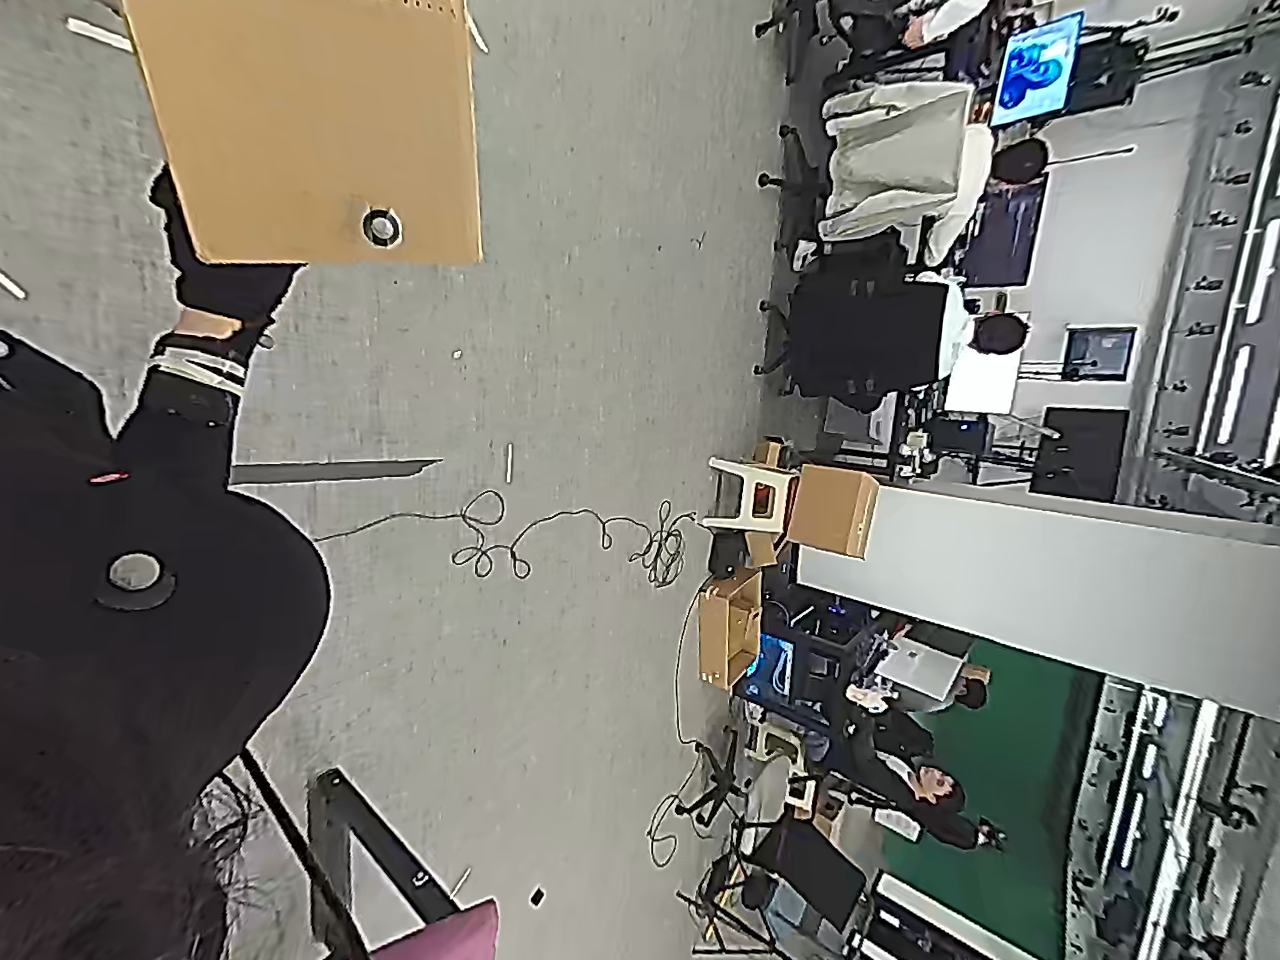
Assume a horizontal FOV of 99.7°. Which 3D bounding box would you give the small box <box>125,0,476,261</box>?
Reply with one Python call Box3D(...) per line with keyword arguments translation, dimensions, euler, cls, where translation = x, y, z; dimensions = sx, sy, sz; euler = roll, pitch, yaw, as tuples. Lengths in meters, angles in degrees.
Box3D(translation=(-0.218, -0.255, 0.369), dimensions=(0.168, 0.179, 0.176), euler=(-11, 123, -28), cls="small box")
